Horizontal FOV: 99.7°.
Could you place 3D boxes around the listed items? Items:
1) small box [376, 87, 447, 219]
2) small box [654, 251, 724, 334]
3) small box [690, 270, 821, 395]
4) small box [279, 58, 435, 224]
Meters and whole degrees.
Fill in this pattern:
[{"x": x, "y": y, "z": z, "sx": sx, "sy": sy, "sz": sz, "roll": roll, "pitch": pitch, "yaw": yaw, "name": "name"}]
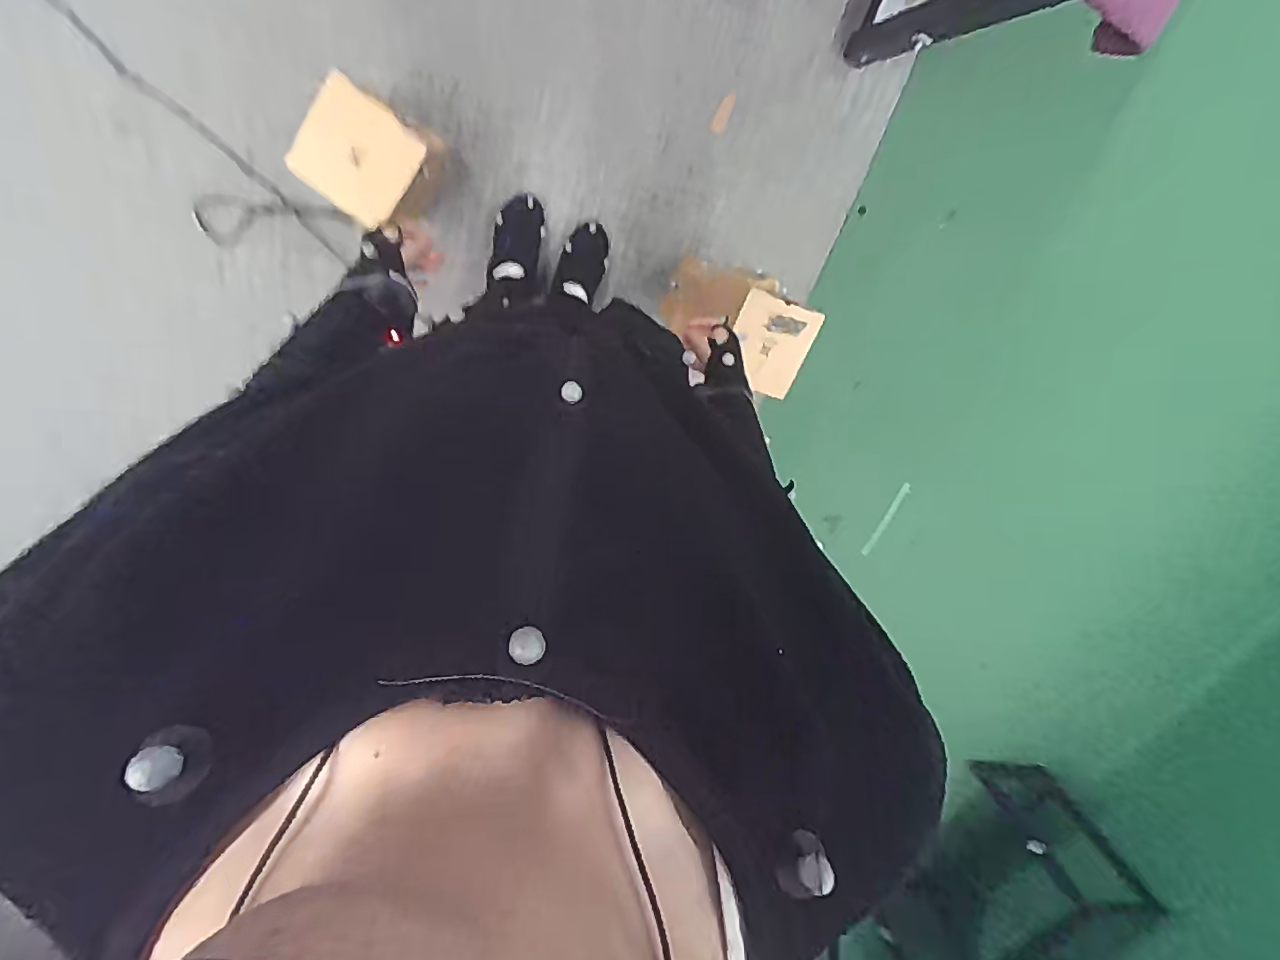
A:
[{"x": -0.506, "y": -0.664, "z": 1.094, "sx": 0.168, "sy": 0.176, "sz": 0.179, "roll": 28, "pitch": 112, "yaw": -24, "name": "small box"}, {"x": 0.156, "y": -0.456, "z": 1.358, "sx": 0.179, "sy": 0.176, "sz": 0.168, "roll": 23, "pitch": 113, "yaw": -23, "name": "small box"}, {"x": 0.218, "y": -0.298, "z": 1.076, "sx": 0.168, "sy": 0.176, "sz": 0.179, "roll": 14, "pitch": 117, "yaw": -20, "name": "small box"}, {"x": -0.486, "y": -0.585, "z": 0.955, "sx": 0.168, "sy": 0.176, "sz": 0.179, "roll": 34, "pitch": 108, "yaw": -26, "name": "small box"}]
